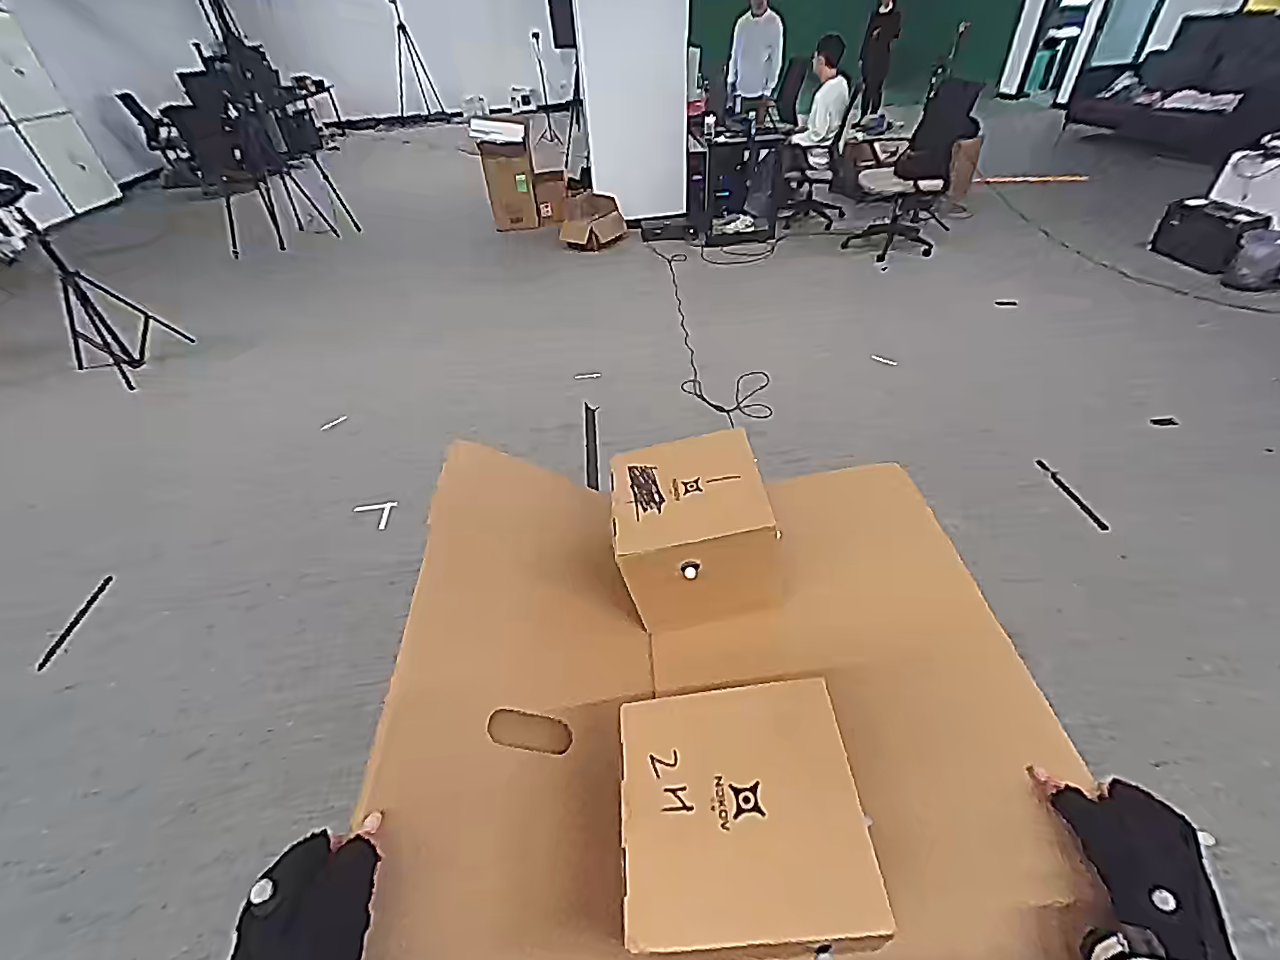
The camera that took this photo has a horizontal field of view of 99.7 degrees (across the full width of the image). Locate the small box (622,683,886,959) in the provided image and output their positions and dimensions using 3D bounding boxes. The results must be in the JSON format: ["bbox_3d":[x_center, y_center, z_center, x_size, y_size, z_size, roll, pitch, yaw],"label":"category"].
[{"bbox_3d":[0.088,0.297,0.465,0.179,0.176,0.168,-11,44,8],"label":"small box"}]

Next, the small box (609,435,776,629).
[{"bbox_3d":[0.067,0.072,0.693,0.179,0.176,0.168,-12,45,6],"label":"small box"}]
